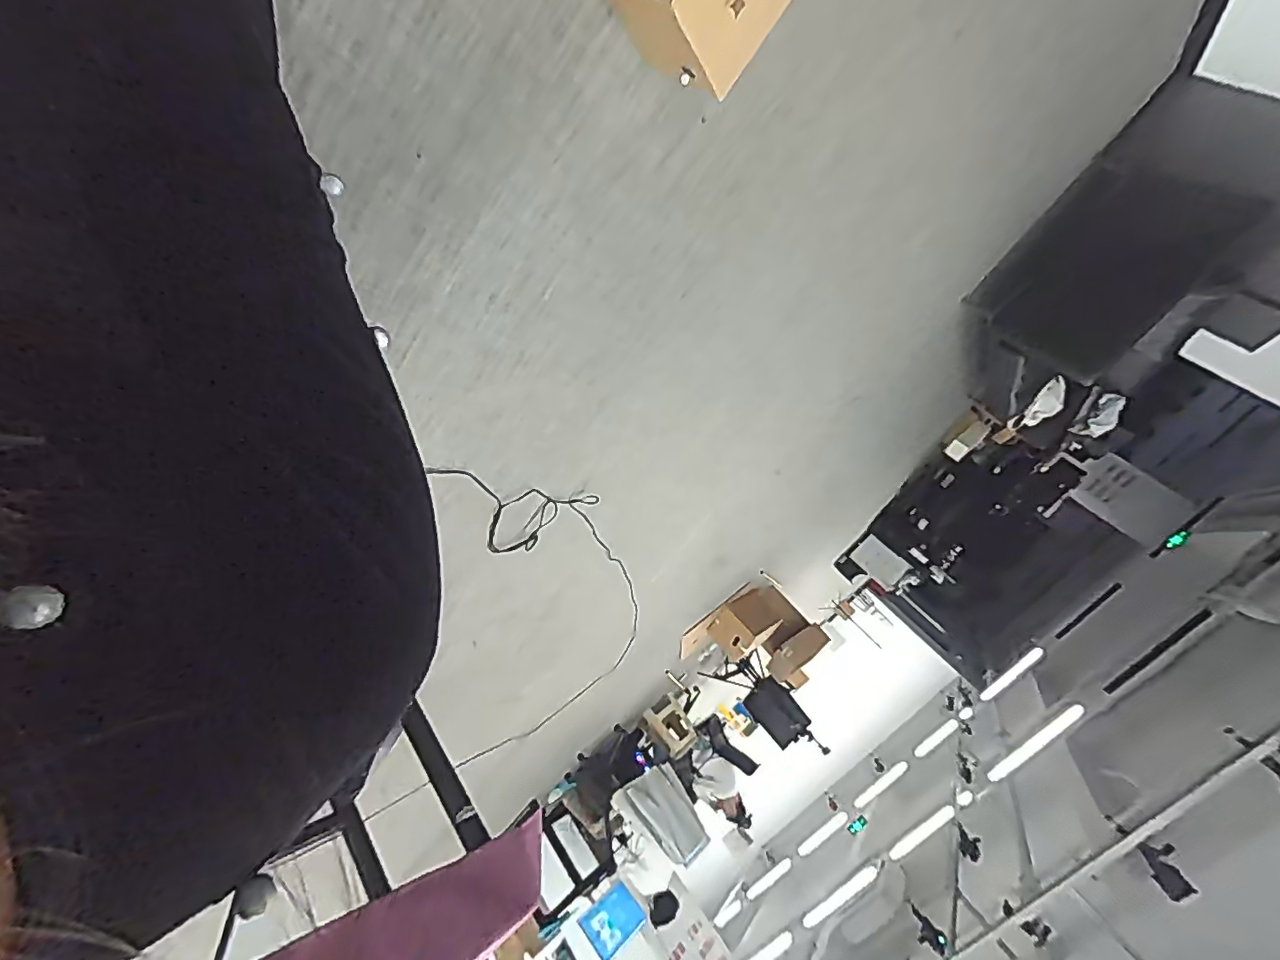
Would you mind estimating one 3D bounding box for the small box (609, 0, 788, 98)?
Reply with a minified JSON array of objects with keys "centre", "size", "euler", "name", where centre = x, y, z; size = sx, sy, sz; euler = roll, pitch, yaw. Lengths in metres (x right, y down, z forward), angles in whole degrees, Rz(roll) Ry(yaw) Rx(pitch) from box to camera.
[{"centre":[0.072,-0.683,0.739],"size":[0.168,0.176,0.179],"euler":[-52,152,14],"name":"small box"}]
